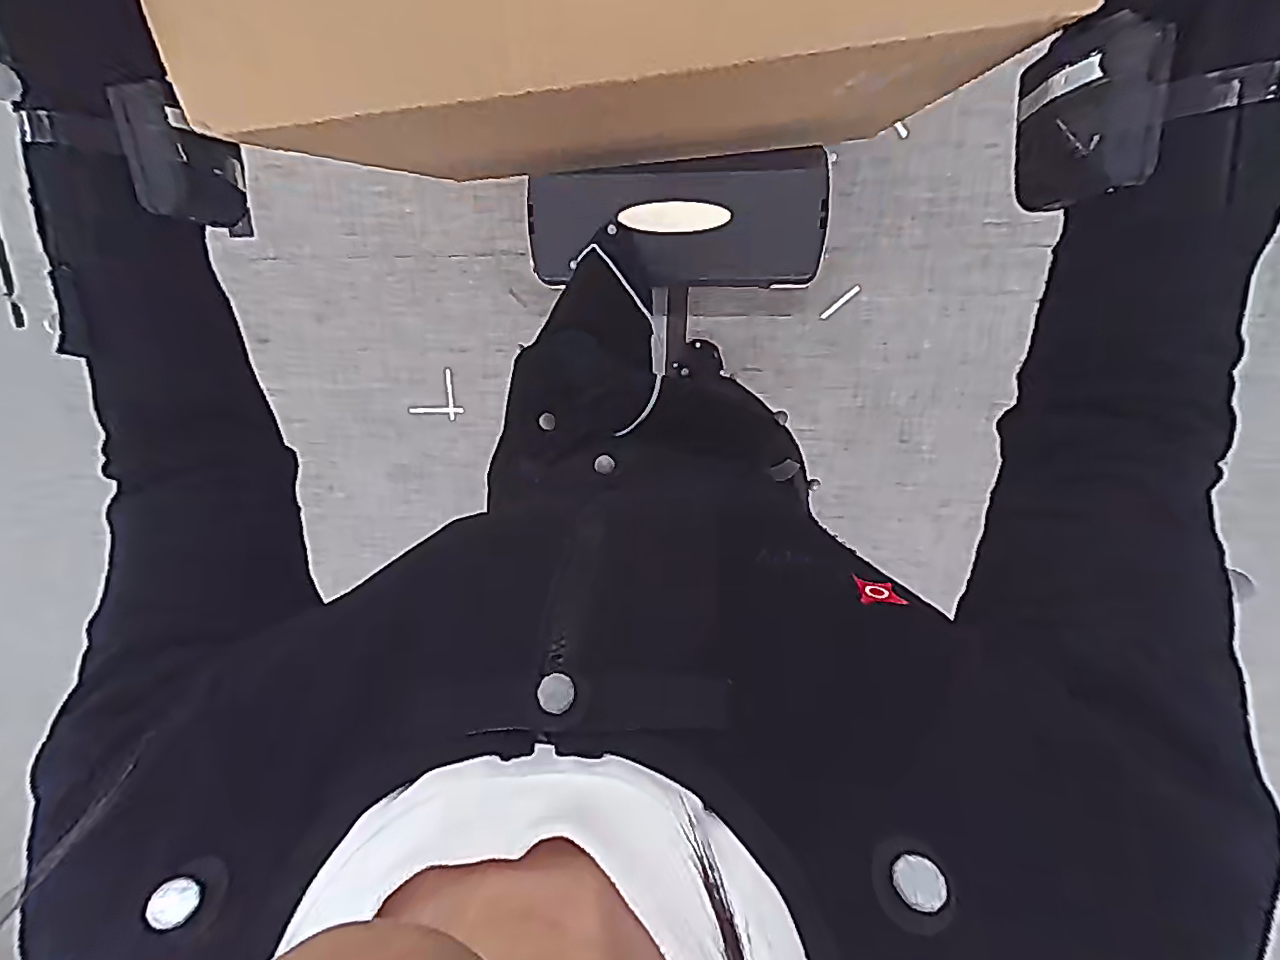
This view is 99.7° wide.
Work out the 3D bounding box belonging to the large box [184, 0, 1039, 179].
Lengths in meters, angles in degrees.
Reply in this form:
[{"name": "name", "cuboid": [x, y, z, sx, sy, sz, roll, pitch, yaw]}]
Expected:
[{"name": "large box", "cuboid": [-0.017, -0.392, 0.325, 0.408, 0.320, 0.320, -2, 115, 8]}]
